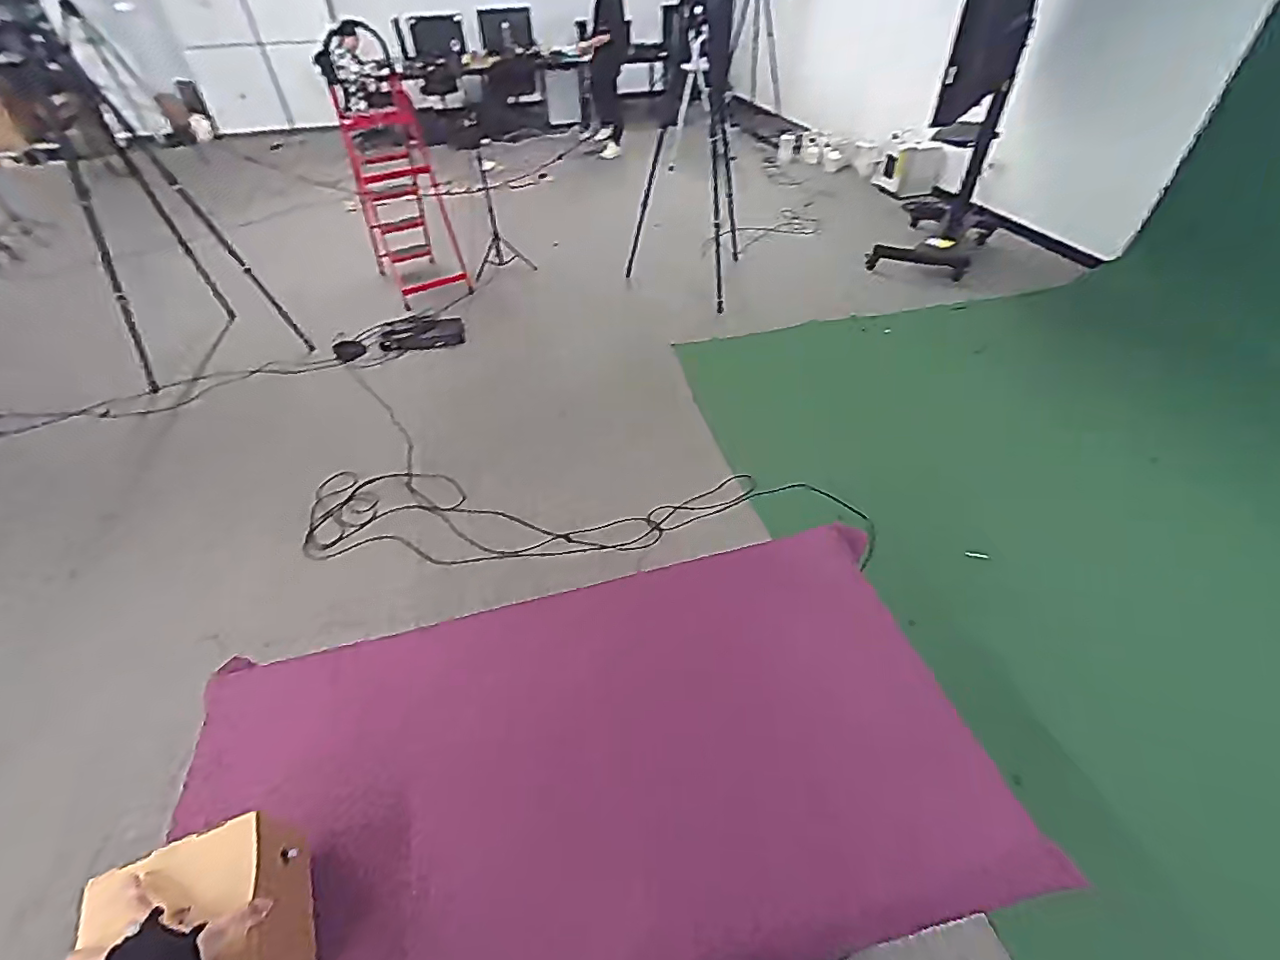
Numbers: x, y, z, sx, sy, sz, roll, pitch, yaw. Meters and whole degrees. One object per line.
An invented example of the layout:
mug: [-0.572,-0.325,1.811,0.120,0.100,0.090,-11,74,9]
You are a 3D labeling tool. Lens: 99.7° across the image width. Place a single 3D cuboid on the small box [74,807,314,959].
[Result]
small box: [-0.502,0.523,0.630,0.168,0.176,0.179,-16,53,-19]
